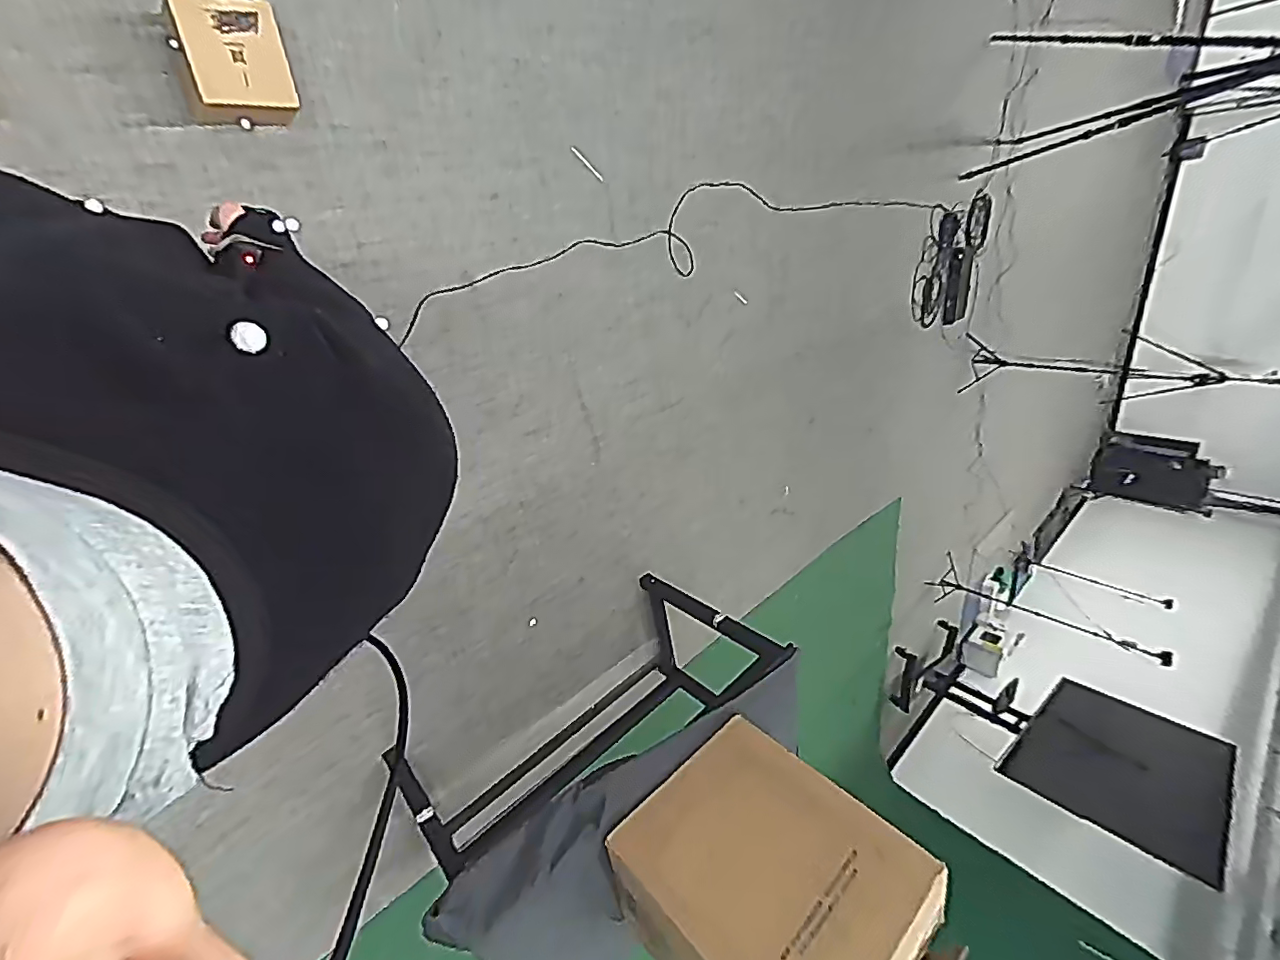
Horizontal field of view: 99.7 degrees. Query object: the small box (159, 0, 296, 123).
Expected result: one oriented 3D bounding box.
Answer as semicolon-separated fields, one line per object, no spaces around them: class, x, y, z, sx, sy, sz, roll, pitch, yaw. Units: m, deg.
small box;-0.813;-0.828;1.064;0.168;0.176;0.179;-24;121;-34
